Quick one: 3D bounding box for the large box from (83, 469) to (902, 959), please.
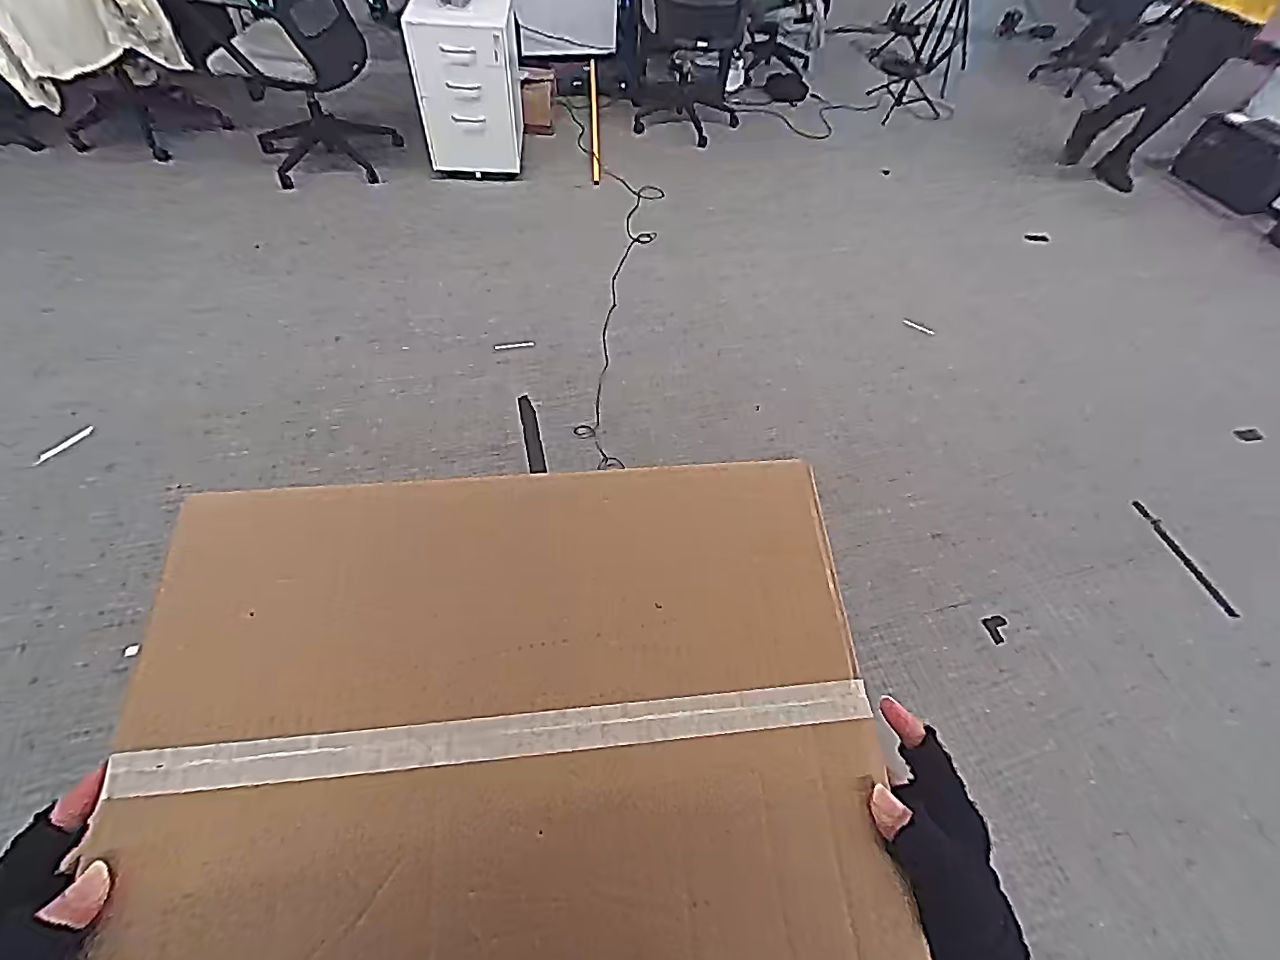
[{"bbox_3d":[-0.081,0.205,0.444,0.408,0.320,0.320,-3,65,-5],"label":"large box"}]
